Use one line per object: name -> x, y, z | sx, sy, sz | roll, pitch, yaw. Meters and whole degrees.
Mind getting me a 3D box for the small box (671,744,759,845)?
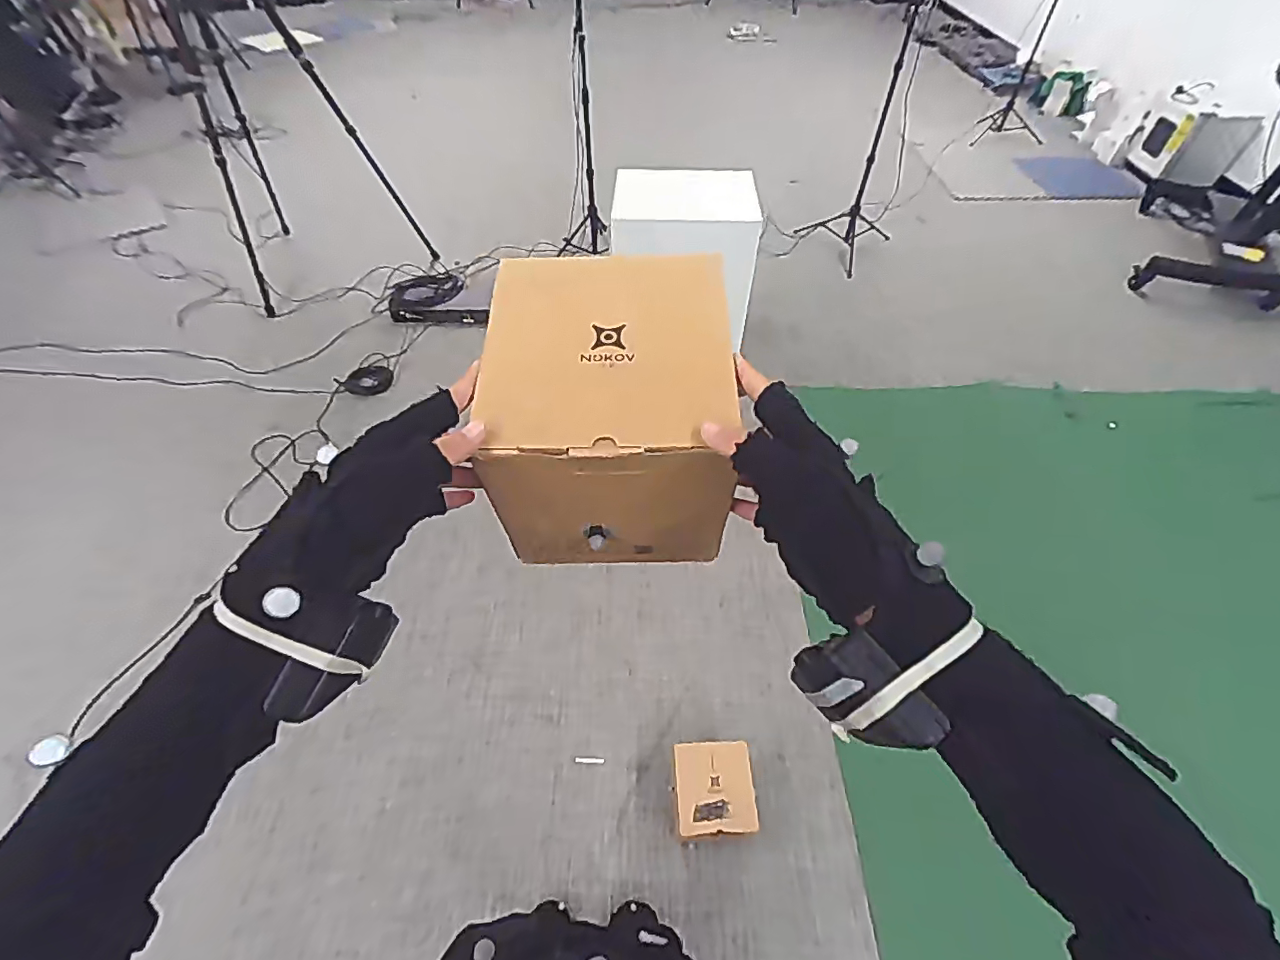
small box -> 0.159, 0.704, 1.205 | 0.168, 0.176, 0.179 | -1, 51, -1
